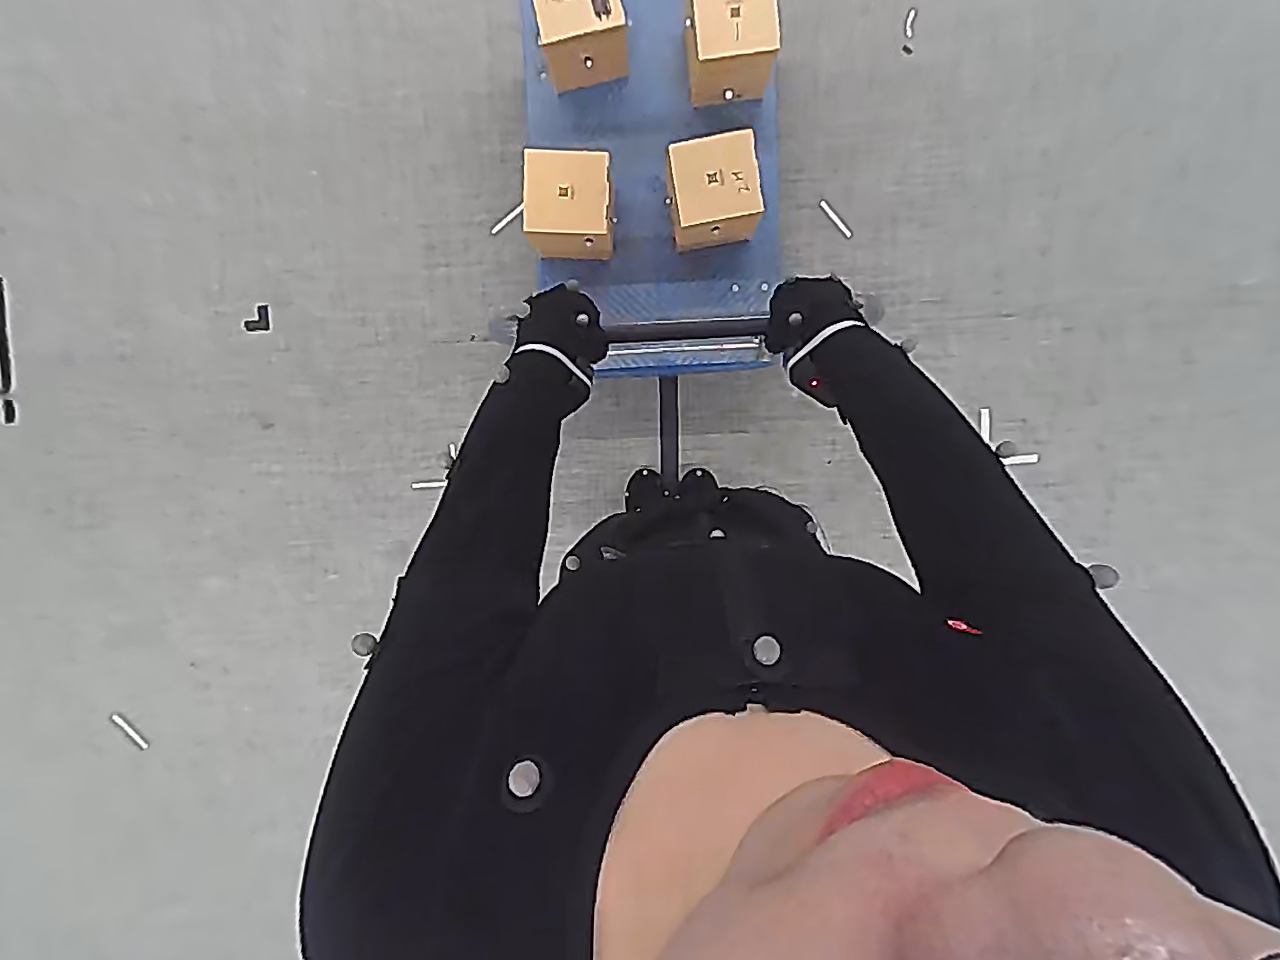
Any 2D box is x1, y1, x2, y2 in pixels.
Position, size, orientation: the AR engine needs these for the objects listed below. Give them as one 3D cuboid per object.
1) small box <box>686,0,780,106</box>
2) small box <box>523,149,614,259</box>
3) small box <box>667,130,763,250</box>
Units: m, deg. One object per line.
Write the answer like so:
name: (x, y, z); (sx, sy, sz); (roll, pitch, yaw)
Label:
small box: (0.190, -0.936, 1.141); (0.168, 0.176, 0.179); (-6, 97, 2)
small box: (-0.151, -0.597, 1.186); (0.179, 0.176, 0.168); (2, 96, -1)
small box: (0.157, -0.619, 1.176); (0.179, 0.176, 0.168); (-9, 96, 3)
